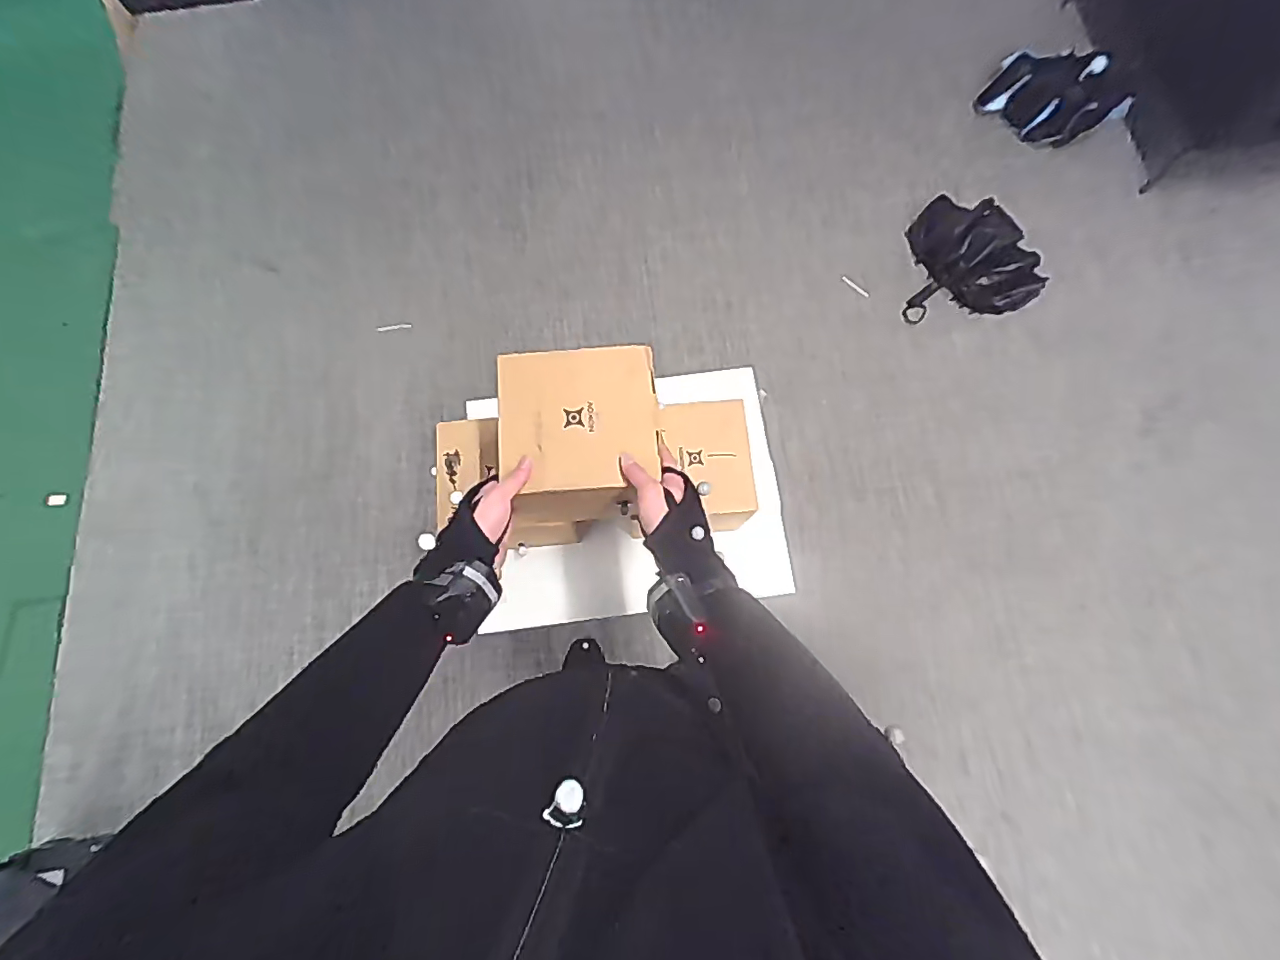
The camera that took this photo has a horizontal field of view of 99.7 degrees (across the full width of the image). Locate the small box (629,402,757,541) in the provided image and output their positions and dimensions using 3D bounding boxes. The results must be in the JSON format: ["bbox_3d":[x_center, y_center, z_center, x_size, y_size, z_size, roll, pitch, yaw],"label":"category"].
[{"bbox_3d":[0.066,-0.005,0.817,0.179,0.176,0.168,-5,75,-1],"label":"small box"}]

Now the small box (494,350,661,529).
[{"bbox_3d":[-0.070,-0.040,0.662,0.179,0.176,0.168,-5,74,0],"label":"small box"}]

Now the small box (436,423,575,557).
[{"bbox_3d":[-0.193,0.018,0.815,0.179,0.176,0.168,-6,75,-3],"label":"small box"}]
